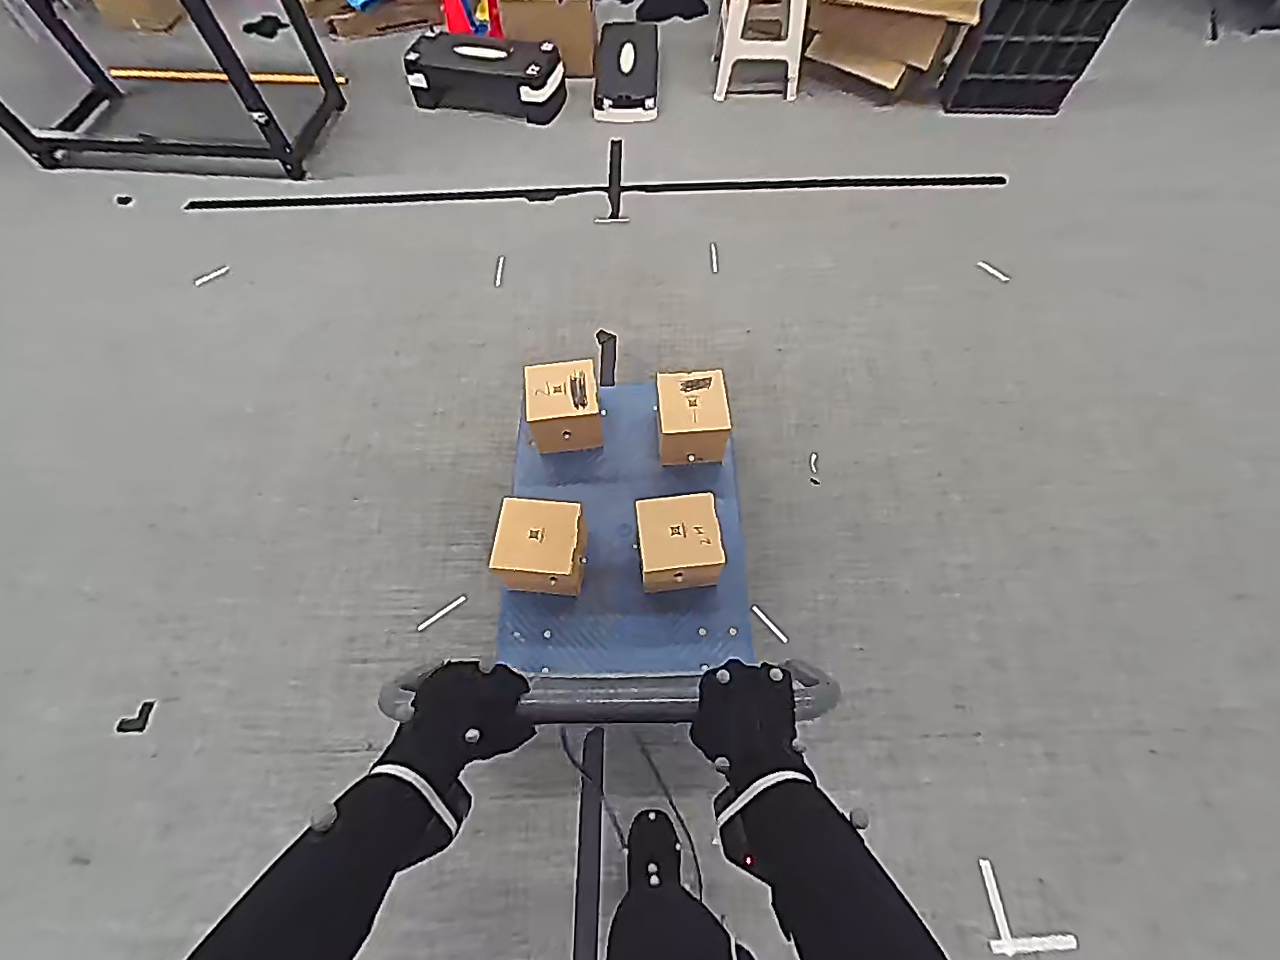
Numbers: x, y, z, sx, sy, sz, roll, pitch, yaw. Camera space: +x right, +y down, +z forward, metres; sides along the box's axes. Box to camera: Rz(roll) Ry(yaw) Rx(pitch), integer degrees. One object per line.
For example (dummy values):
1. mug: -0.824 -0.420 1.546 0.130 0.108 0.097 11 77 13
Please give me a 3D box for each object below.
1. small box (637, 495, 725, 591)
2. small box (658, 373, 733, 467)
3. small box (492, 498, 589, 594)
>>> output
1. small box: 0.089 0.150 1.236 0.179 0.176 0.168 -6 64 -2
2. small box: 0.135 -0.151 1.384 0.168 0.176 0.179 -3 65 -1
3. small box: -0.218 0.156 1.239 0.179 0.176 0.168 5 63 1
